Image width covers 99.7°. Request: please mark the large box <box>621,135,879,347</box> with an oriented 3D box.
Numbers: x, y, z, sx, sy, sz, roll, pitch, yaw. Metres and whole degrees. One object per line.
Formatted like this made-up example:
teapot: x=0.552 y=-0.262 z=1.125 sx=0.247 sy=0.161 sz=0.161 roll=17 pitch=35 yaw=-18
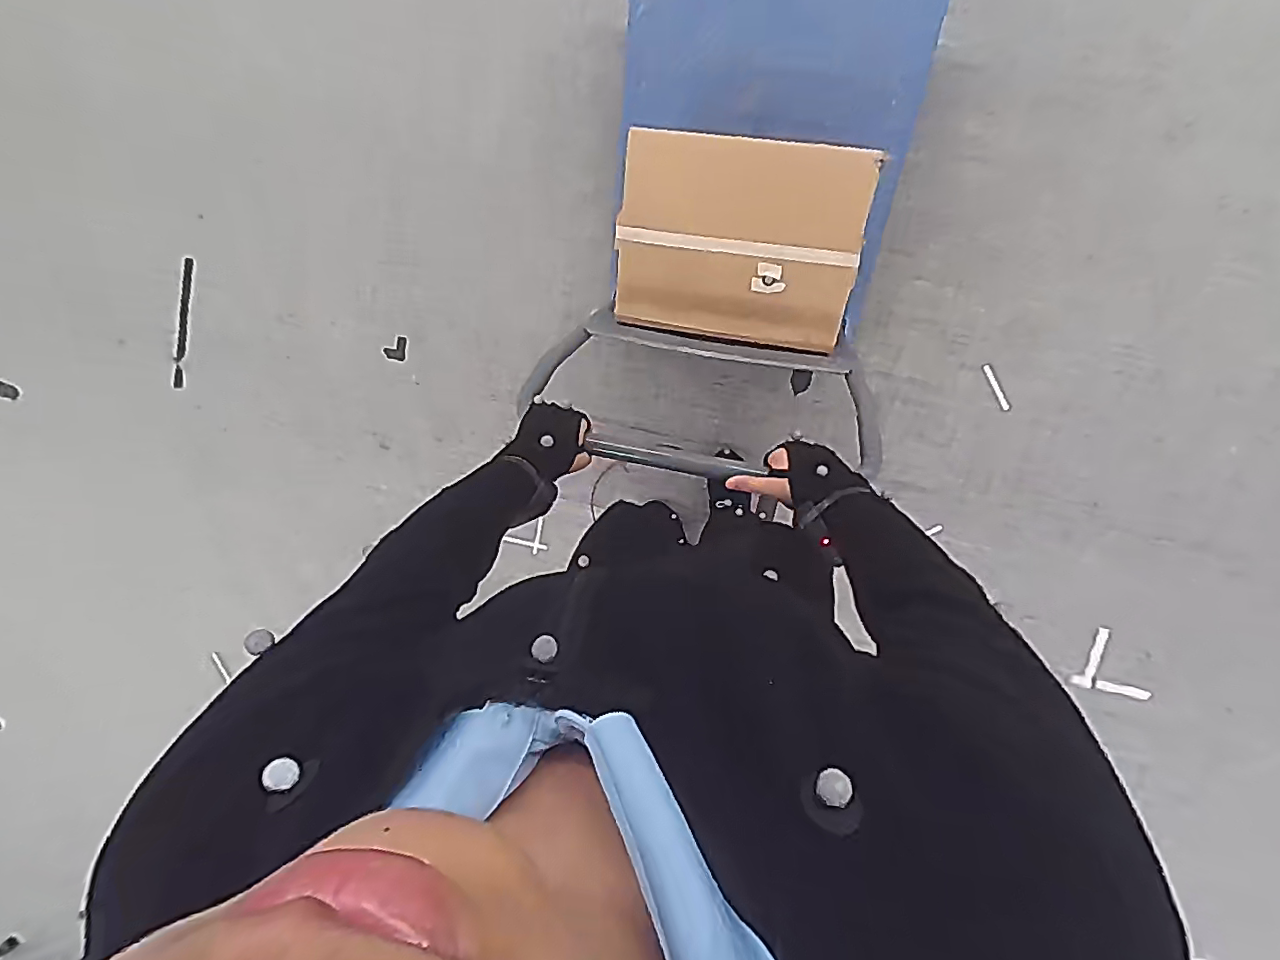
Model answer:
large box: x=0.194 y=-0.467 z=1.065 sx=0.408 sy=0.320 sz=0.320 roll=10 pitch=118 yaw=8
